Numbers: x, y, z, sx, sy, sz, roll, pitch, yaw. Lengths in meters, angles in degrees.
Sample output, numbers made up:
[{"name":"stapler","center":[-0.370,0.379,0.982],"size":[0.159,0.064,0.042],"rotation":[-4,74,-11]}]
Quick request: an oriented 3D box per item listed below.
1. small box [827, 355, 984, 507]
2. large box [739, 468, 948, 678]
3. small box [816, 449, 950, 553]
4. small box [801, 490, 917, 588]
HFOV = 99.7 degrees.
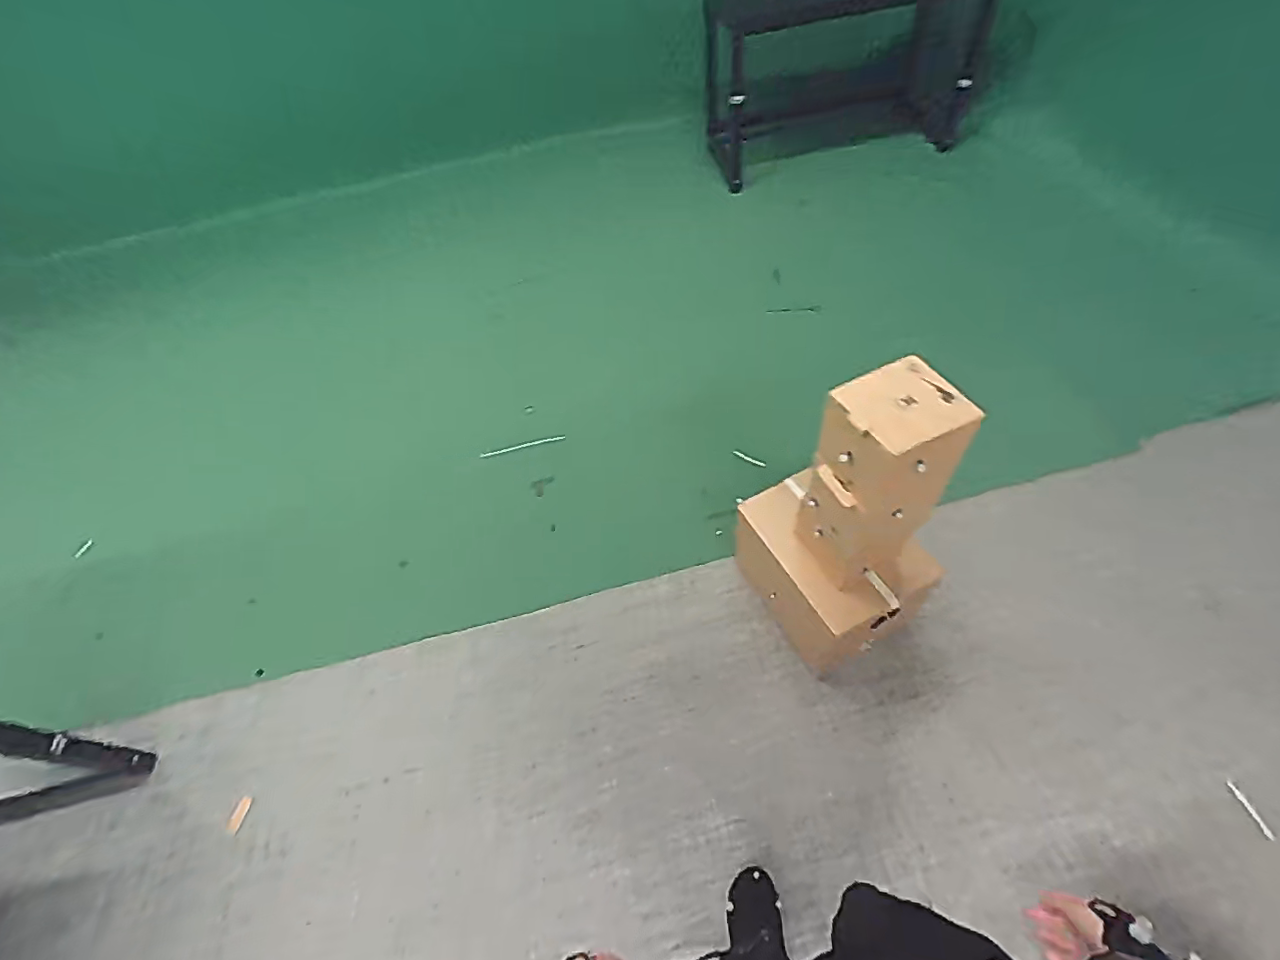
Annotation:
[{"name":"small box","center":[0.447,-0.079,0.947],"size":[0.179,0.176,0.168],"rotation":[-24,55,-6]},{"name":"large box","center":[0.497,0.234,1.426],"size":[0.320,0.320,0.408],"rotation":[-25,53,-11]},{"name":"small box","center":[0.467,0.020,1.077],"size":[0.179,0.176,0.168],"rotation":[-22,54,-6]},{"name":"small box","center":[0.480,0.110,1.214],"size":[0.168,0.176,0.179],"rotation":[-24,55,-7]}]
